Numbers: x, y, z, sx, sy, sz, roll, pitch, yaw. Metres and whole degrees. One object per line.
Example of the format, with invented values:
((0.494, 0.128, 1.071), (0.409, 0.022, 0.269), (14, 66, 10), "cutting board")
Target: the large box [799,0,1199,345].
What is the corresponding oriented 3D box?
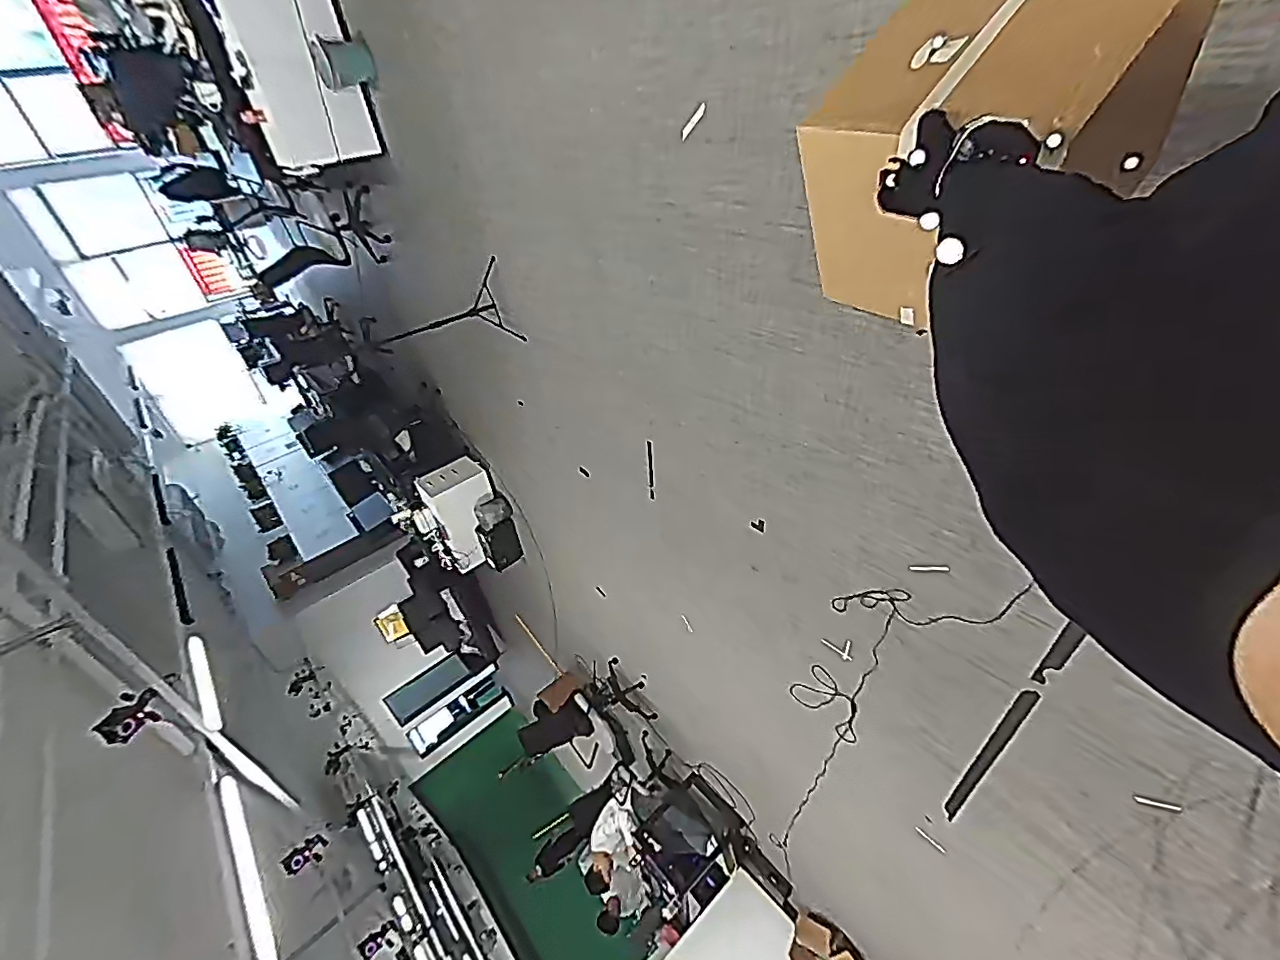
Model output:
((0.492, -0.477, 0.775), (0.320, 0.408, 0.320), (34, 172, 37), "large box")
